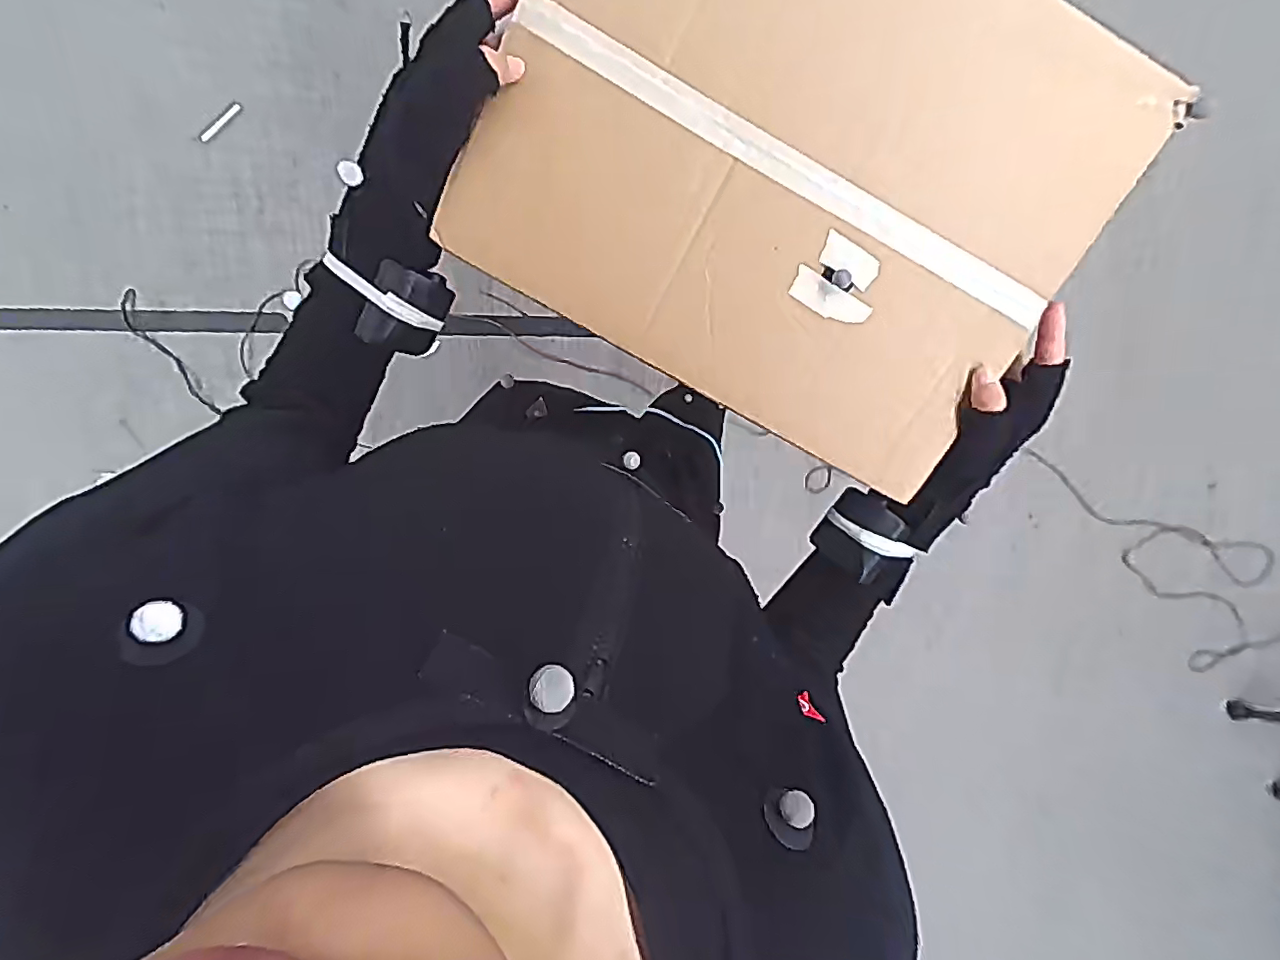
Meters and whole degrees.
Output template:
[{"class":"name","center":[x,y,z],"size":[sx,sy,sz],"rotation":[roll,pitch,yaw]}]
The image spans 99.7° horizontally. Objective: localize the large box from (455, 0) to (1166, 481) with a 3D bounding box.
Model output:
[{"class":"large box","center":[0.110,-0.253,0.520],"size":[0.408,0.320,0.320],"rotation":[28,105,-6]}]
